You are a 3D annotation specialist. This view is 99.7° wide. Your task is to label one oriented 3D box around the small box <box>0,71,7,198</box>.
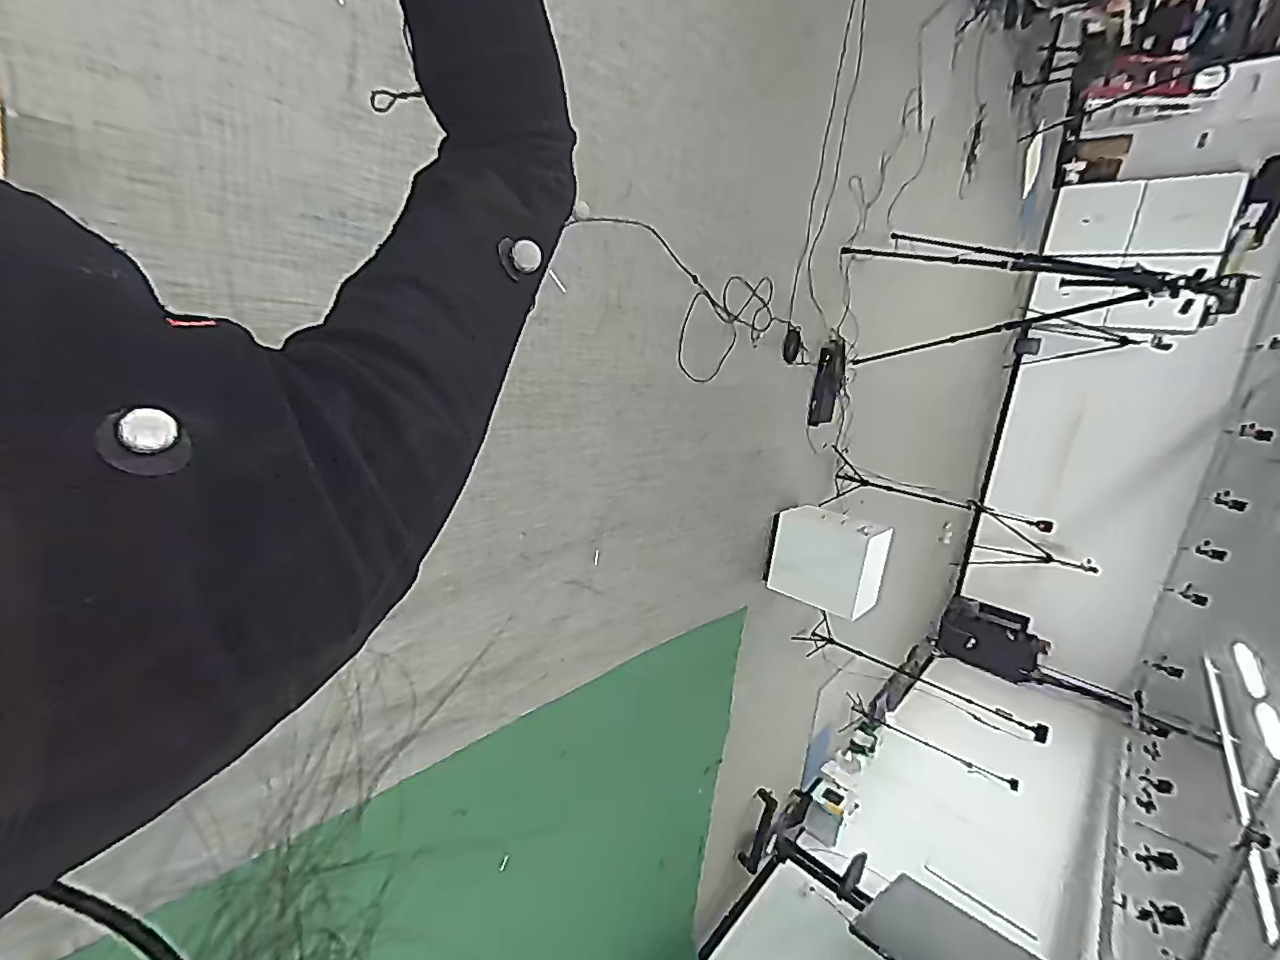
[{"bbox_3d":[-1.075,-0.544,0.805,0.168,0.176,0.179,-2,106,-48],"label":"small box"}]
